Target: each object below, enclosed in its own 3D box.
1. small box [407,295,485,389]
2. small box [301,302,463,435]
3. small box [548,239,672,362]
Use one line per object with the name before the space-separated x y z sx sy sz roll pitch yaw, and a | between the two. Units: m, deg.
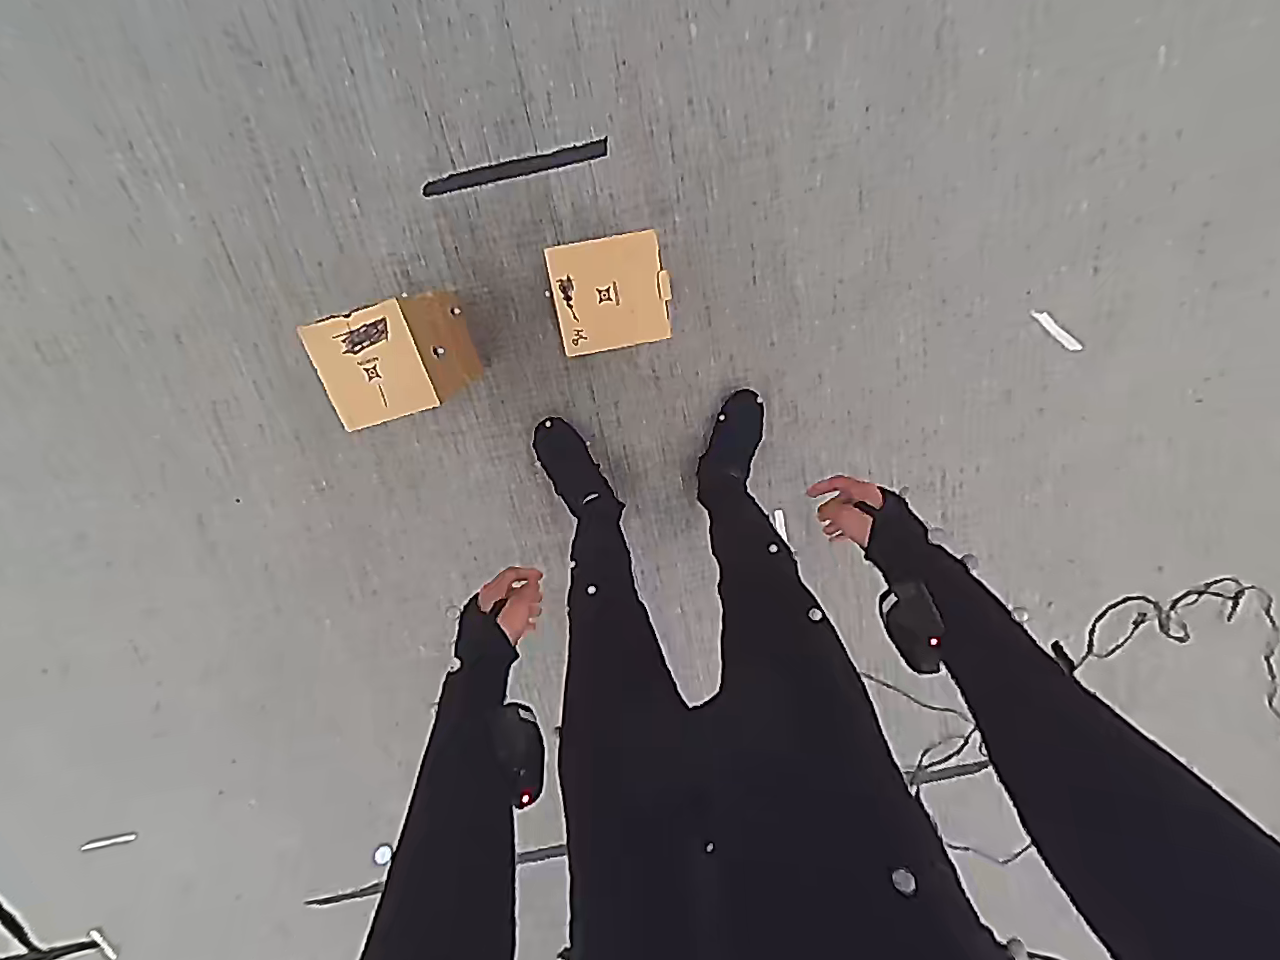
small box | -0.432 -0.258 1.082 0.168 0.176 0.179 -17 110 2
small box | -0.427 -0.198 0.929 0.168 0.176 0.179 -15 110 2
small box | -0.052 -0.305 0.918 0.179 0.176 0.168 -10 109 -2
